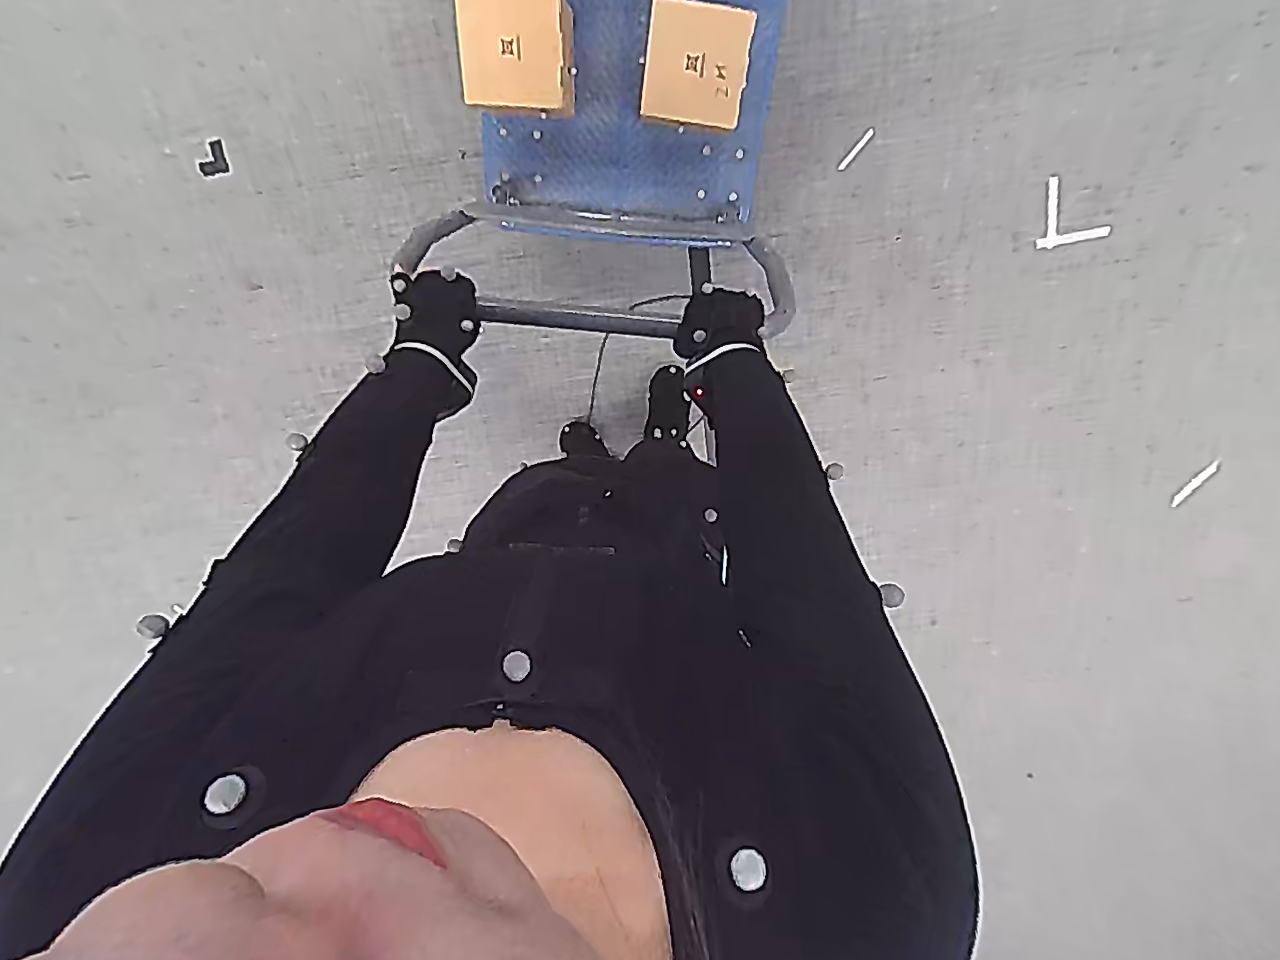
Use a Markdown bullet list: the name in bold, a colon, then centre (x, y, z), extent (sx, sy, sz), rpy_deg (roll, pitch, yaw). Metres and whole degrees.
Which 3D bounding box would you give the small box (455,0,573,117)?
- **small box**: centre (-0.218, -0.767, 0.979), extent (0.179, 0.176, 0.168), rpy_deg (1, 119, -2)

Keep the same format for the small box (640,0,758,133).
- **small box**: centre (0.098, -0.744, 0.986), extent (0.179, 0.176, 0.168), rpy_deg (7, 120, -3)
